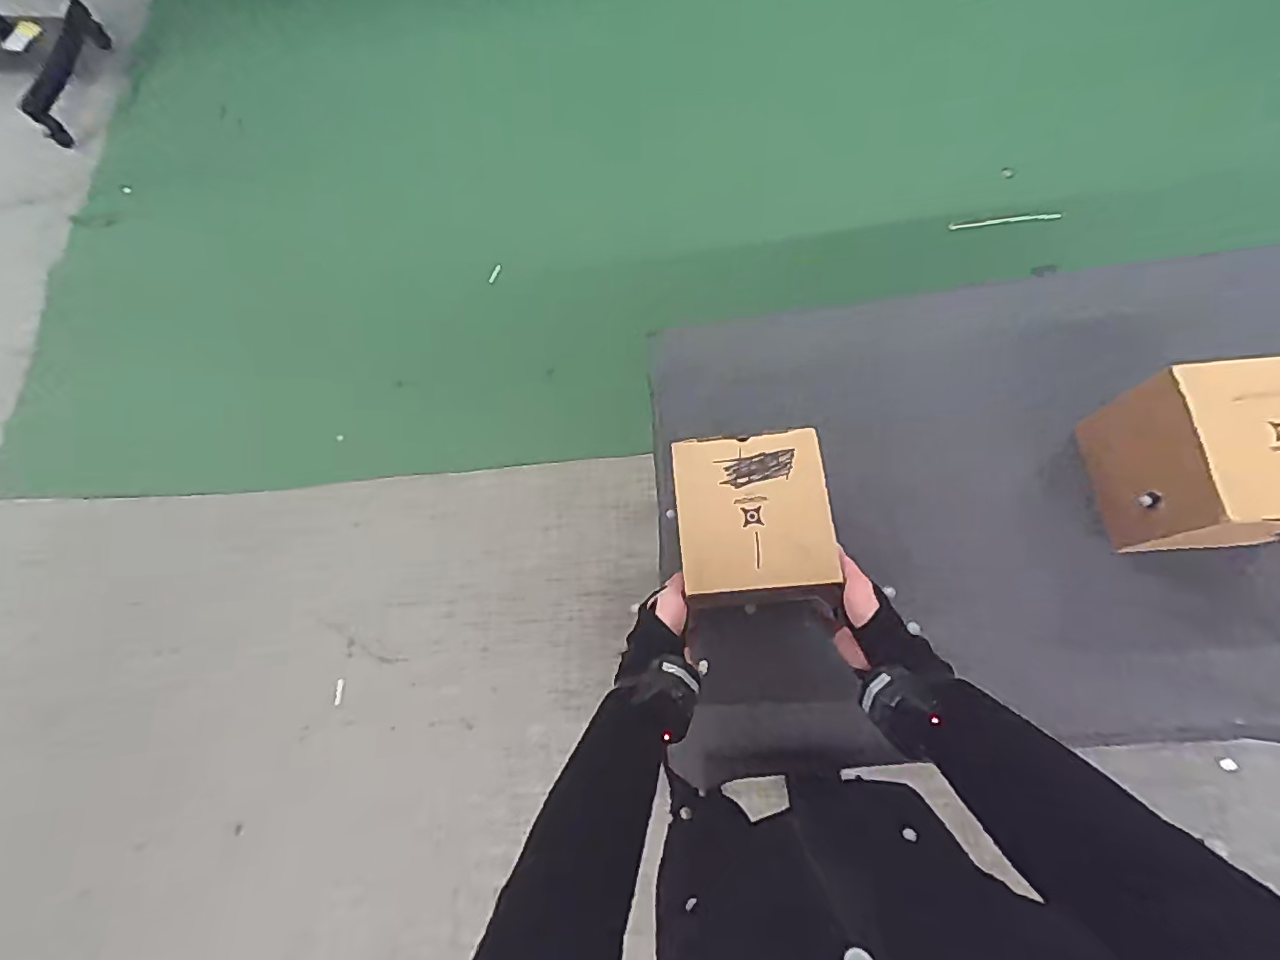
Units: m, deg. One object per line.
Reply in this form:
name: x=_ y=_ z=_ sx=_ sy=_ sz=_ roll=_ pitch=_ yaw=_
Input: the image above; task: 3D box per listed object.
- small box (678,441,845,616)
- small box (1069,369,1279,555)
small box: x=0.136 y=0.069 z=0.671 sx=0.168 sy=0.176 sz=0.179 roll=-6 pitch=72 yaw=5
small box: x=0.661 y=-0.010 z=0.635 sx=0.168 sy=0.176 sz=0.179 roll=-5 pitch=71 yaw=4
